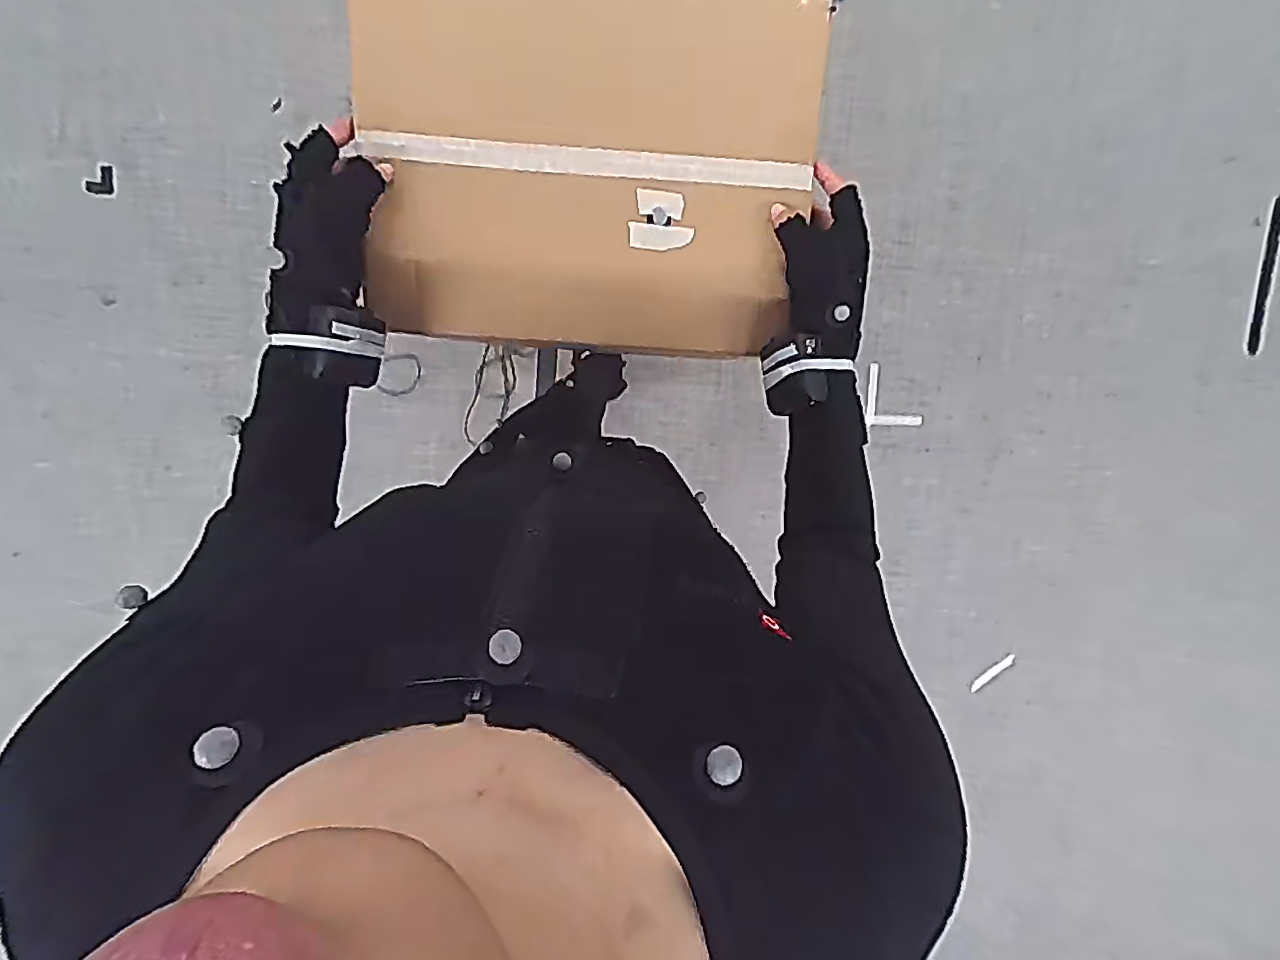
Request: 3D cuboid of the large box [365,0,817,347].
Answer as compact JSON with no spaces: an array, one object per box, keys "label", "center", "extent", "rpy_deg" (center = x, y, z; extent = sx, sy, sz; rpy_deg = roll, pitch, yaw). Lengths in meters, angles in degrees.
[{"label":"large box","center":[-0.054,-0.330,0.645],"extent":[0.408,0.320,0.320],"rpy_deg":[2,102,-4]}]
